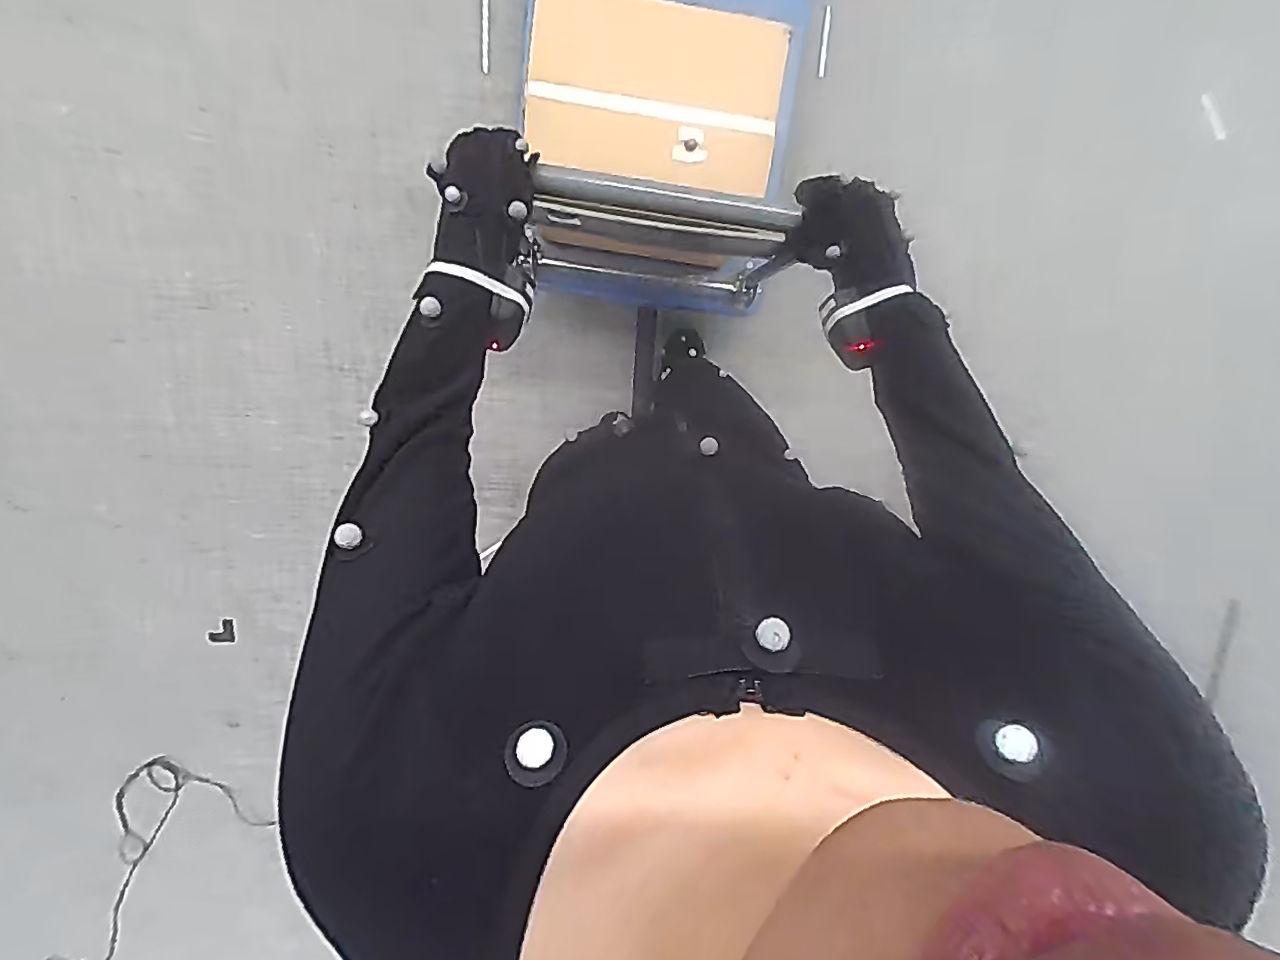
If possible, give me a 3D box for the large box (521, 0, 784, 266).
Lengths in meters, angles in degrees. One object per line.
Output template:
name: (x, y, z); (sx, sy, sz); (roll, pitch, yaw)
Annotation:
large box: (0.005, -0.614, 1.014); (0.408, 0.320, 0.320); (6, 101, -6)
